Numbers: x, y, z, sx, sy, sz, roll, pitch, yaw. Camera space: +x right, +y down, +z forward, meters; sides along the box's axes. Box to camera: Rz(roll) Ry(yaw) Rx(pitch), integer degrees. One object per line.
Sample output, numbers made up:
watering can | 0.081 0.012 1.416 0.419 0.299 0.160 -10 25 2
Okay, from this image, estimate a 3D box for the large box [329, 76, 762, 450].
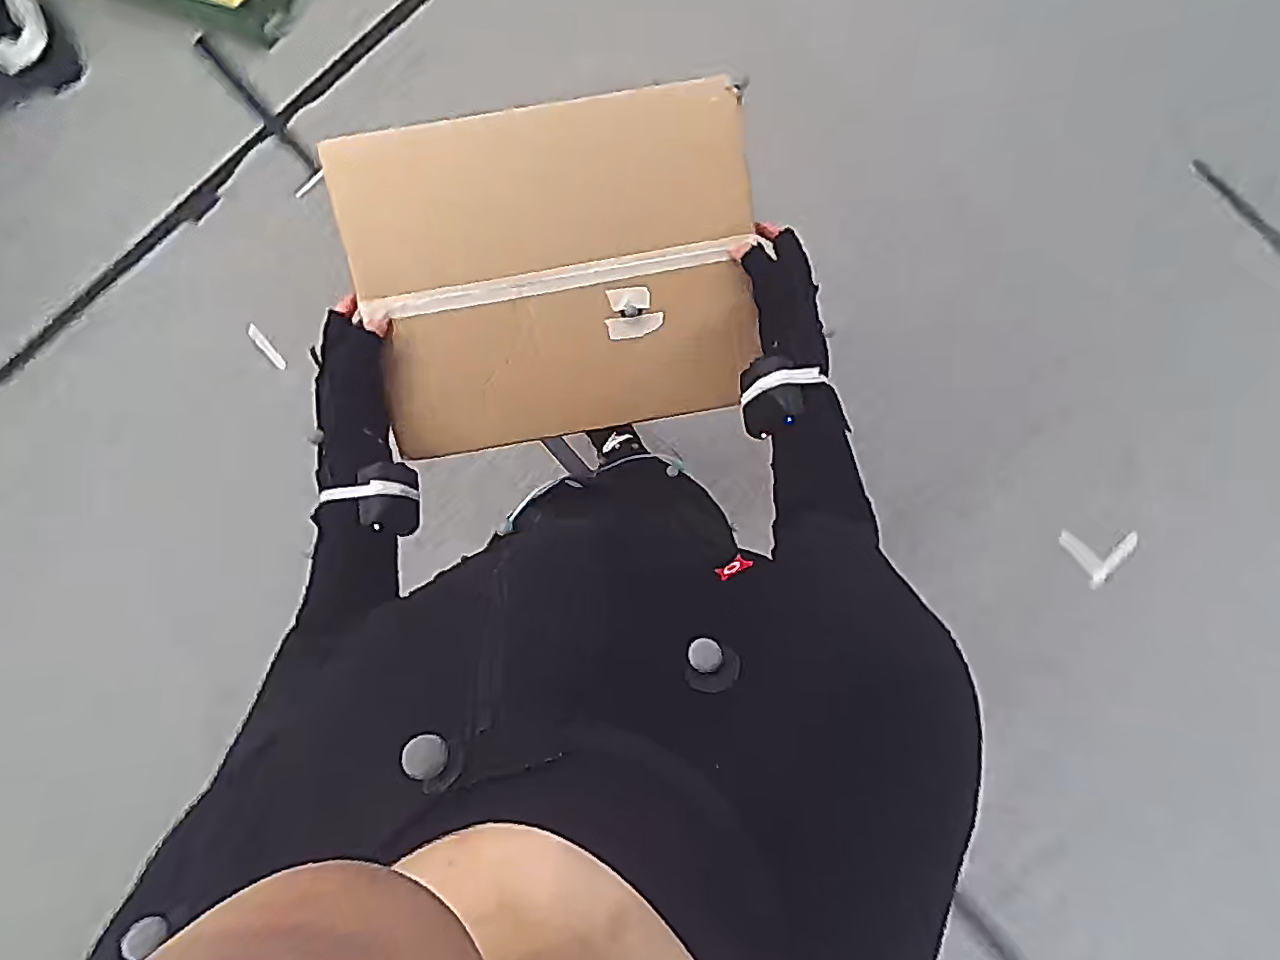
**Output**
large box | -0.096 -0.246 0.709 0.408 0.320 0.320 -11 103 -1
